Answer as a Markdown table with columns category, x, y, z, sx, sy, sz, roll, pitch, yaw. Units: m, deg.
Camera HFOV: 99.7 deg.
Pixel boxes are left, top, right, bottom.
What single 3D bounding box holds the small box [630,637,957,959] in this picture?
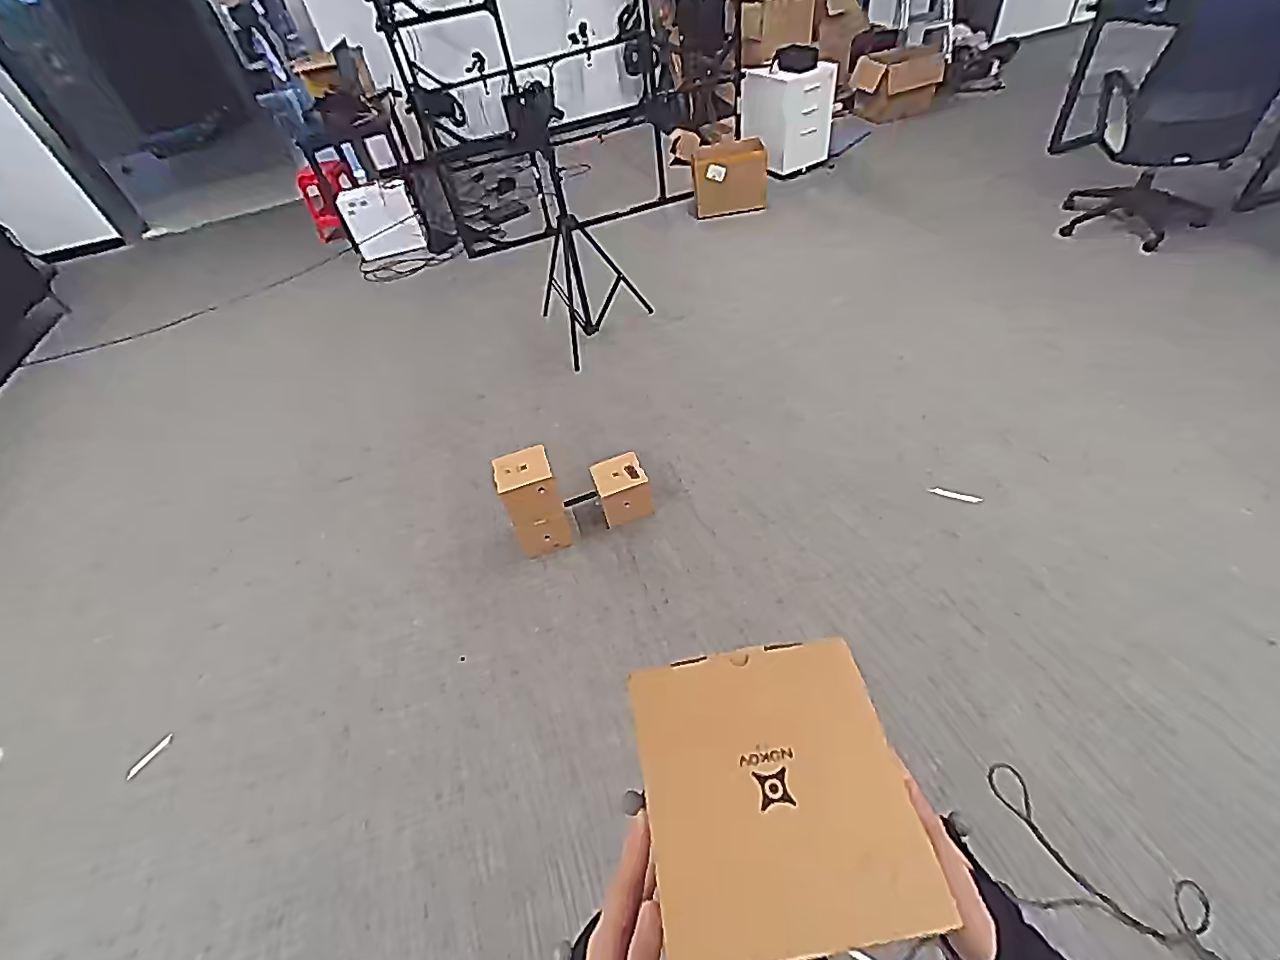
| category | x | y | z | sx | sy | sz | roll | pitch | yaw |
| --- | --- | --- | --- | --- | --- | --- | --- | --- | --- |
| small box | 0.090 | 0.247 | 0.407 | 0.168 | 0.176 | 0.179 | -9 | 47 | -3 |

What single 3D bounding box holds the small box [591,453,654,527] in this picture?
| category | x | y | z | sx | sy | sz | roll | pitch | yaw |
| --- | --- | --- | --- | --- | --- | --- | --- | --- | --- |
| small box | -0.057 | 0.039 | 1.925 | 0.179 | 0.176 | 0.168 | -20 | 47 | -6 |

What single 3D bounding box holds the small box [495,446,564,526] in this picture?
| category | x | y | z | sx | sy | sz | roll | pitch | yaw |
| --- | --- | --- | --- | --- | --- | --- | --- | --- | --- |
| small box | -0.357 | 0.022 | 1.770 | 0.179 | 0.176 | 0.168 | -19 | 46 | -6 |
